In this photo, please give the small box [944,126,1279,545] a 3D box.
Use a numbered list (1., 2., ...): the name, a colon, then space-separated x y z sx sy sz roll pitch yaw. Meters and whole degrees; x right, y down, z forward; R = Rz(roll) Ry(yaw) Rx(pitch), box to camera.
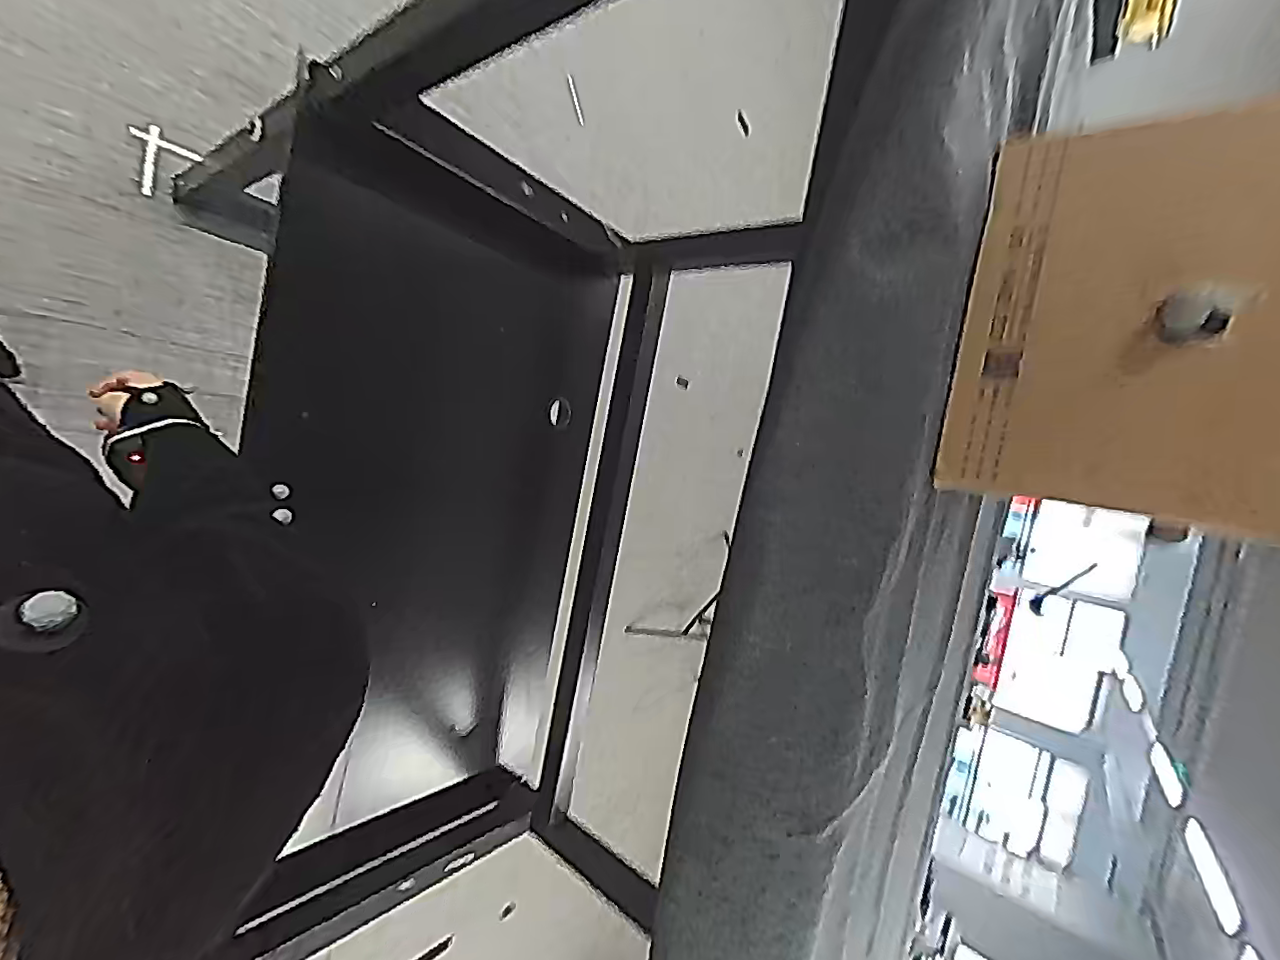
1. small box: 0.277 -0.059 0.287 0.179 0.176 0.168 0 100 -53
